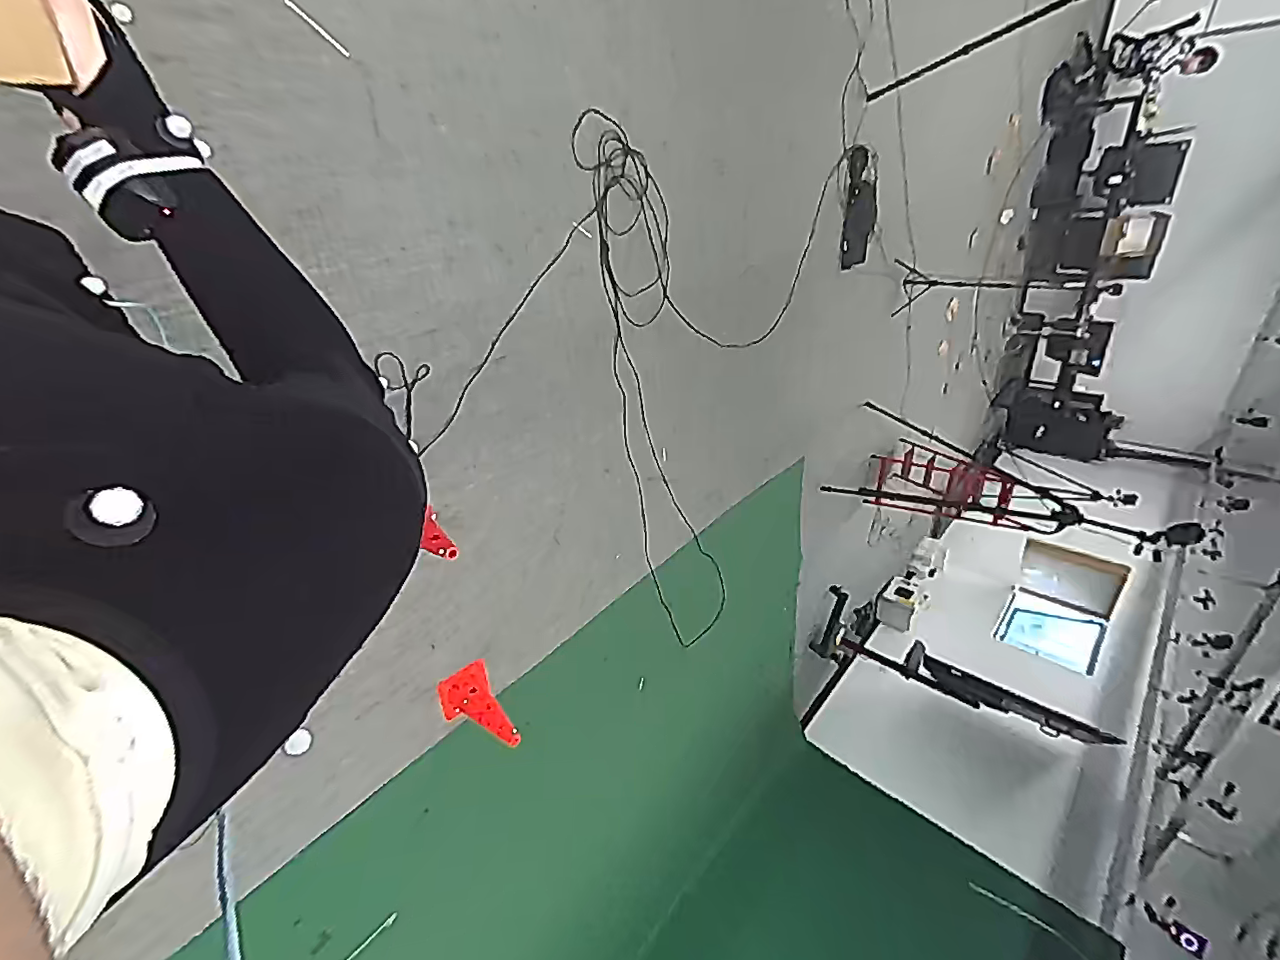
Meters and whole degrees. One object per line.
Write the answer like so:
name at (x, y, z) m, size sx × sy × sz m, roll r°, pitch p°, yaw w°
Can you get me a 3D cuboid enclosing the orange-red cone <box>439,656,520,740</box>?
orange-red cone at (-0.570, 0.859, 2.034) m, size 0.199 × 0.360 × 0.198 m, roll -26°, pitch 125°, yaw -41°
